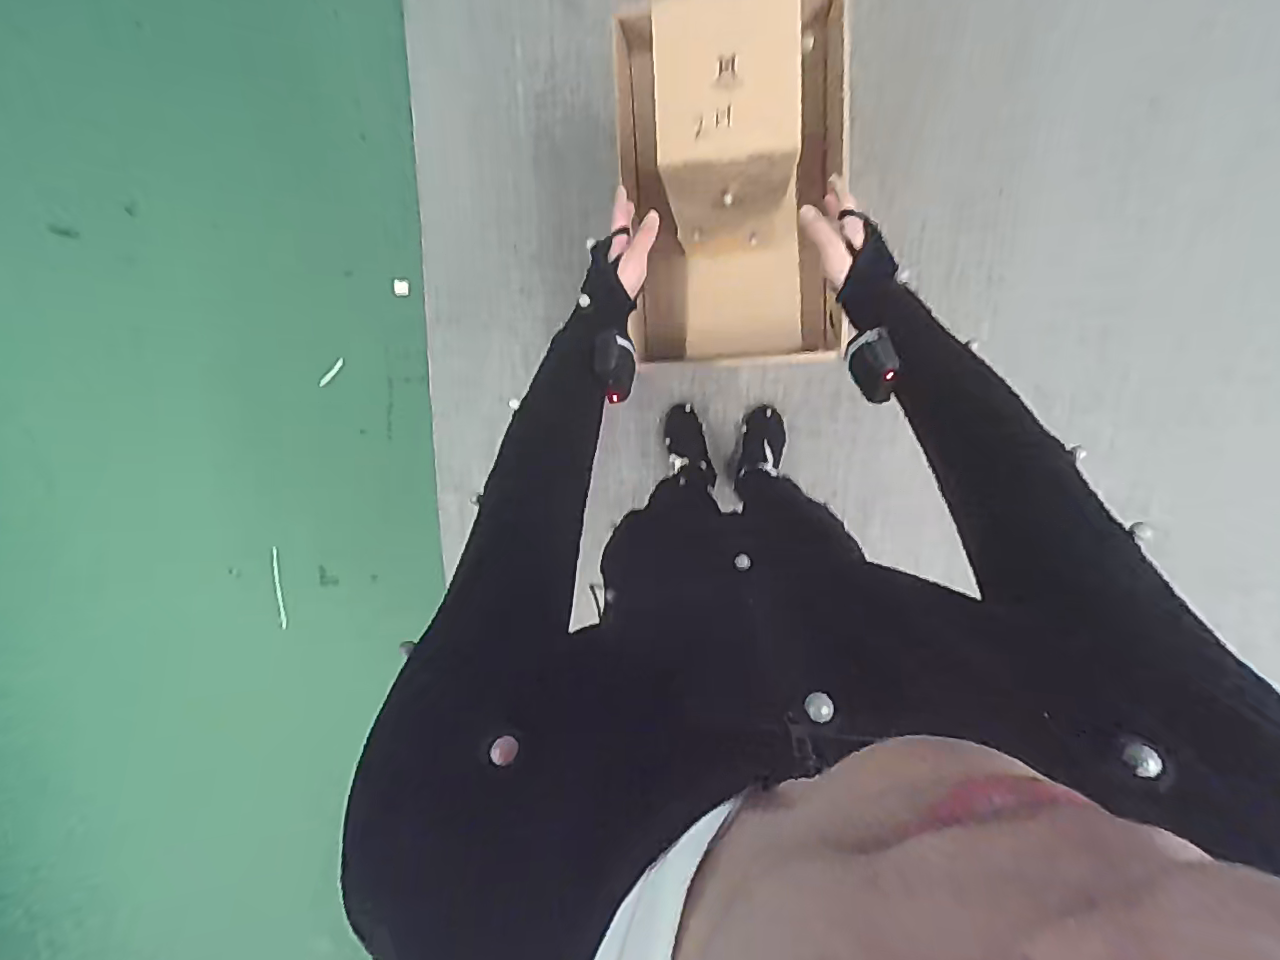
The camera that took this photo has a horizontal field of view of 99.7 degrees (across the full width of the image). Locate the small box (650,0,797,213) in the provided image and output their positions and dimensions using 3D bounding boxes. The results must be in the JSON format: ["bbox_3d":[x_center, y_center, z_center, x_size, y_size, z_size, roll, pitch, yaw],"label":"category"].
[{"bbox_3d":[0.104,-0.463,0.687,0.168,0.176,0.179,-1,100,9],"label":"small box"}]

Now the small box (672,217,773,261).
[{"bbox_3d":[0.153,-0.516,1.008,0.179,0.176,0.168,-1,99,9],"label":"small box"}]

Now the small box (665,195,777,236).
[{"bbox_3d":[0.130,-0.494,0.848,0.168,0.176,0.179,1,99,8],"label":"small box"}]
